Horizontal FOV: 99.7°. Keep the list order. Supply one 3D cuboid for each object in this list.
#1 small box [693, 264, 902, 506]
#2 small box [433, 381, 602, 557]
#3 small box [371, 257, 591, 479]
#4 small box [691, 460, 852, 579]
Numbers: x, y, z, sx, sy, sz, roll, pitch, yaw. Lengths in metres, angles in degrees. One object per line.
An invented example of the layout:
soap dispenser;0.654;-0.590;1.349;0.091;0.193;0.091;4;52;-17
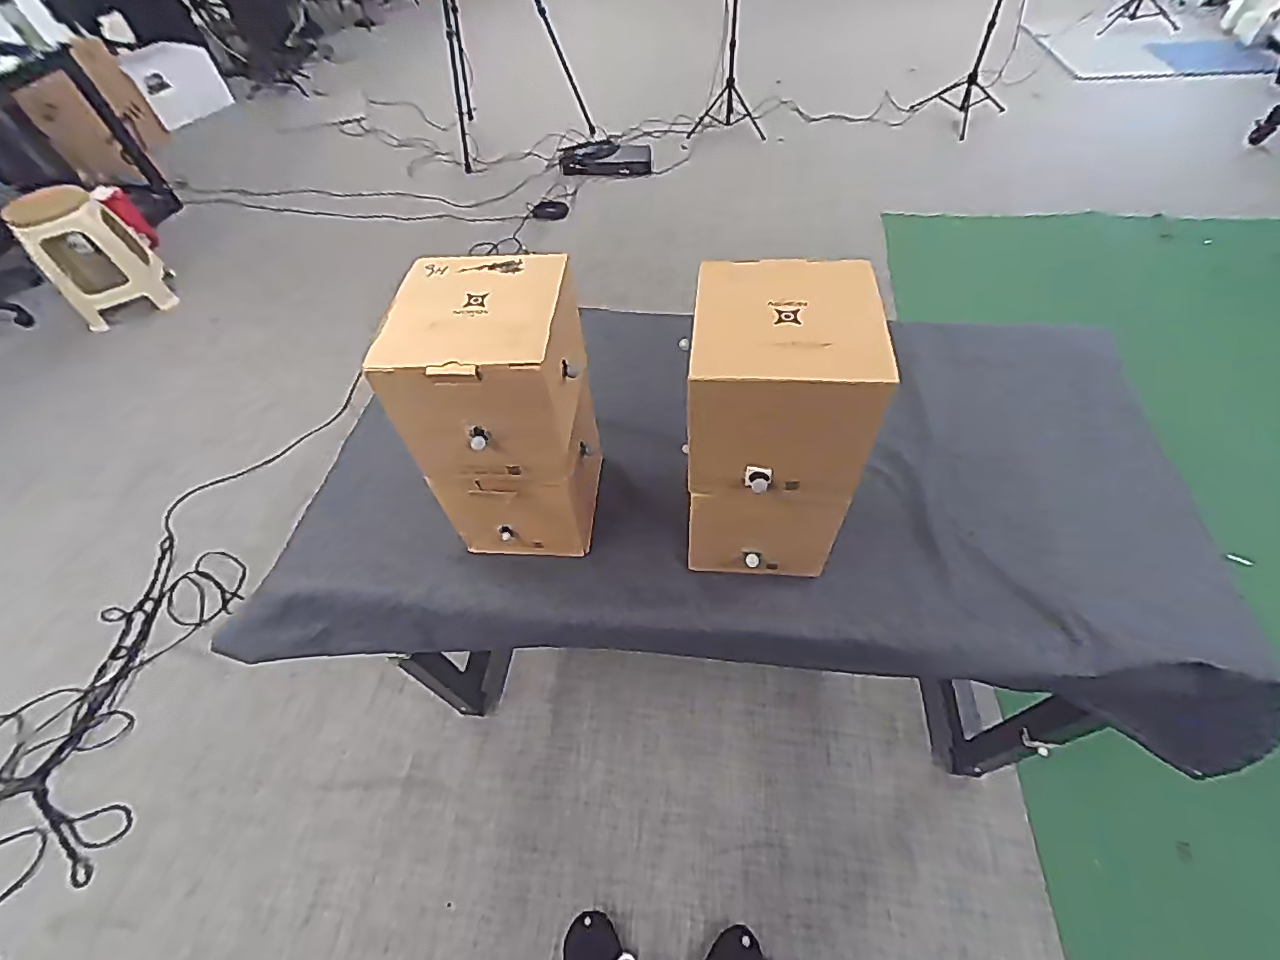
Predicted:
small box;0.141;-0.095;0.546;0.168;0.176;0.179;2;53;8
small box;-0.145;-0.017;0.717;0.168;0.176;0.179;1;53;5
small box;-0.150;-0.114;0.585;0.168;0.176;0.179;0;54;4
small box;0.151;0.003;0.675;0.168;0.176;0.179;2;52;7
